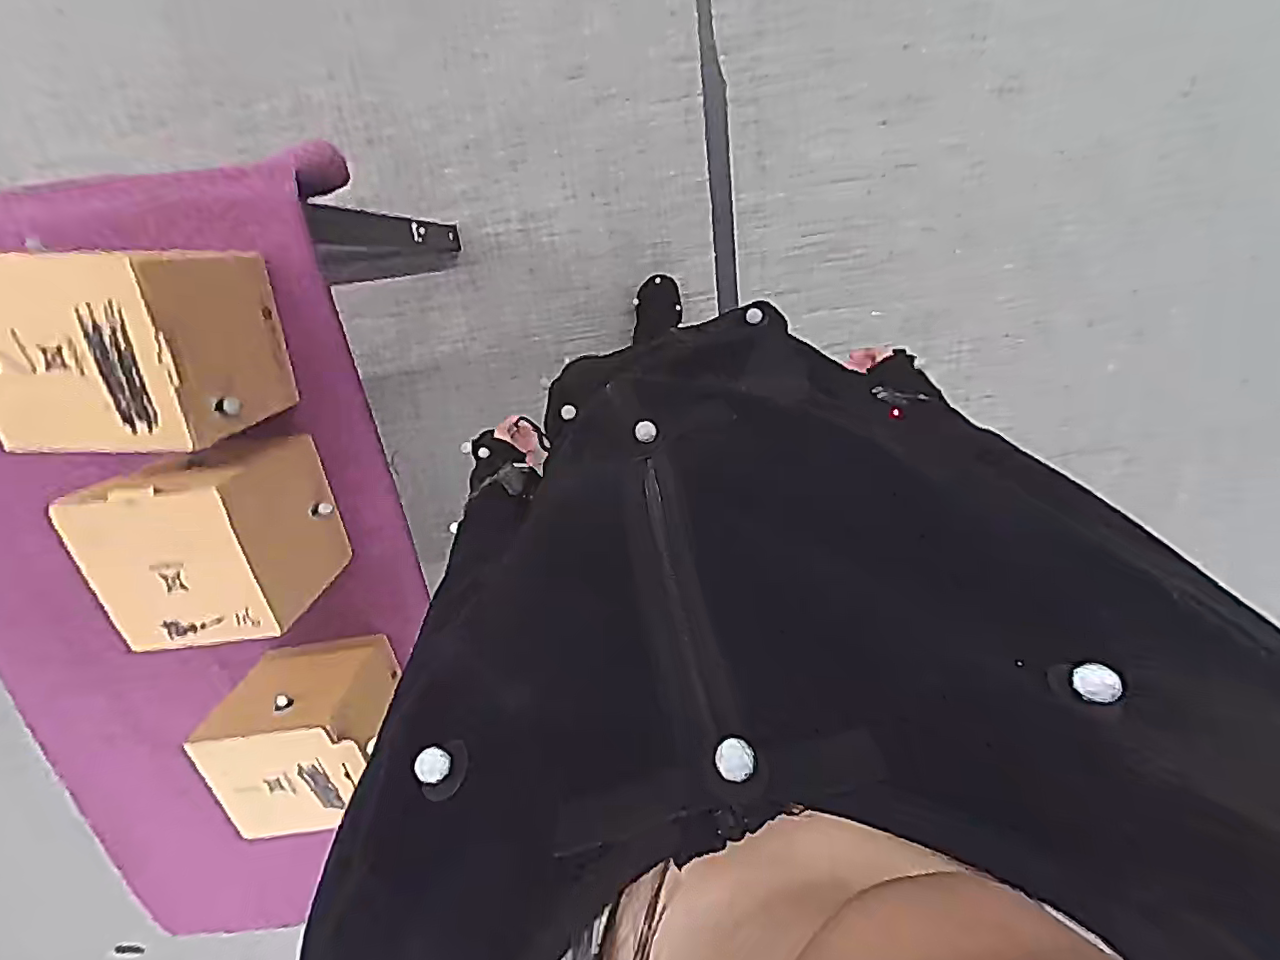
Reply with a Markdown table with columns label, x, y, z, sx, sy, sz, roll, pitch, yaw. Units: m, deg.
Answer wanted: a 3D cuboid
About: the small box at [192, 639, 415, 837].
| label | x | y | z | sx | sy | sz | roll | pitch | yaw |
| --- | --- | --- | --- | --- | --- | --- | --- | --- | --- |
| small box | -0.426 | 0.336 | 0.727 | 0.179 | 0.176 | 0.168 | -9 | 112 | 3 |
